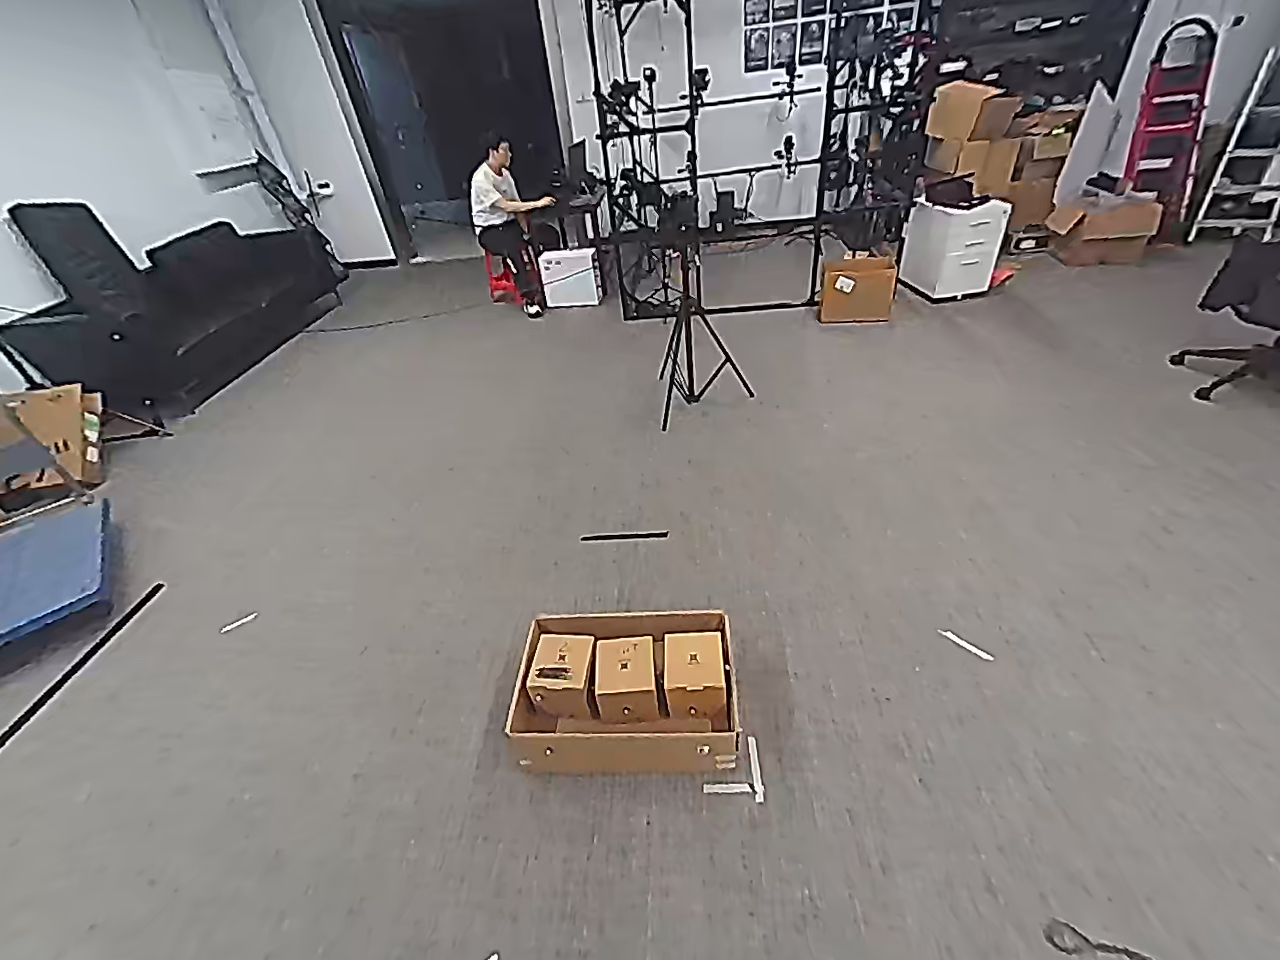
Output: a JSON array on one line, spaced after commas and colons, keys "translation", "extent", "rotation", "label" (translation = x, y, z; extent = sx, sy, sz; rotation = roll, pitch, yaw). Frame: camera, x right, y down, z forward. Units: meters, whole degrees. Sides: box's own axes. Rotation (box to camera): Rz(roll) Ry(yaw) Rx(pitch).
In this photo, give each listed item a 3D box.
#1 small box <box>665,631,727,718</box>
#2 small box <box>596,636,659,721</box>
[{"translation": [0.162, 0.563, 1.564], "extent": [0.168, 0.176, 0.179], "rotation": [-5, 38, 6], "label": "small box"}, {"translation": [-0.033, 0.583, 1.574], "extent": [0.168, 0.176, 0.179], "rotation": [-5, 37, 2], "label": "small box"}]
